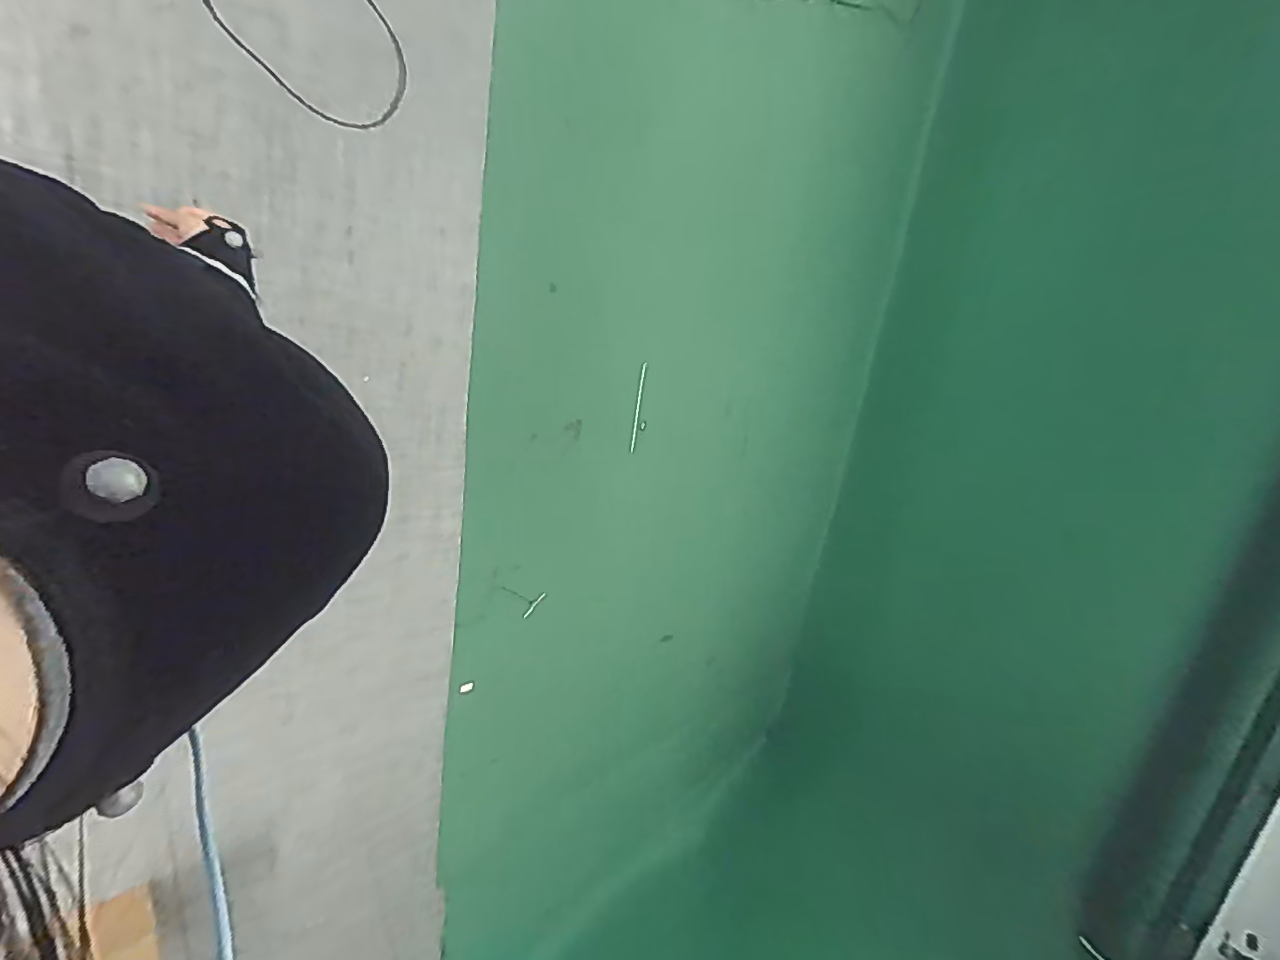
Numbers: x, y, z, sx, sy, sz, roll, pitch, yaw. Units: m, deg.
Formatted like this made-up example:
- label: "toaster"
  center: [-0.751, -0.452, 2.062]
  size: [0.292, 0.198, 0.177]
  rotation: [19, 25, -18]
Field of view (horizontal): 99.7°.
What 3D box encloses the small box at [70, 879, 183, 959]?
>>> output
- label: "small box"
  center: [-1.249, 1.141, 1.316]
  size: [0.179, 0.176, 0.168]
  rotation: [-15, 117, -46]
